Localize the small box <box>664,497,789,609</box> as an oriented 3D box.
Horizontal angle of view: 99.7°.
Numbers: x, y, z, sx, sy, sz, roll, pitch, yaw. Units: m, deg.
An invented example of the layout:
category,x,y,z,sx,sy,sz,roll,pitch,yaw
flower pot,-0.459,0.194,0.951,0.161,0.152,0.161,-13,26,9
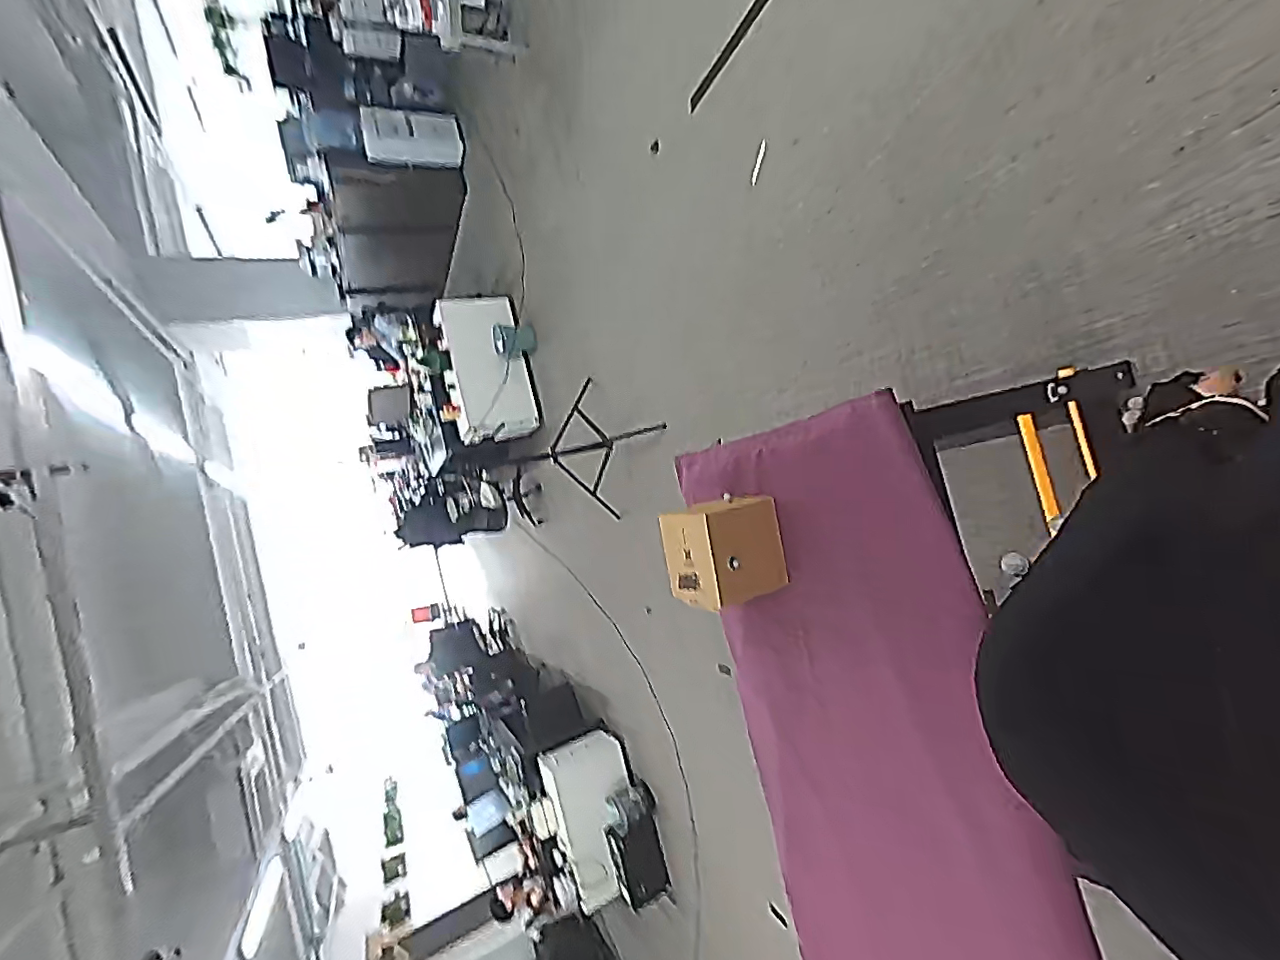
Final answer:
category,x,y,z,sx,sy,sz,roll,pitch,yaw
small box,0.172,0.137,1.071,0.168,0.176,0.179,-8,94,61
